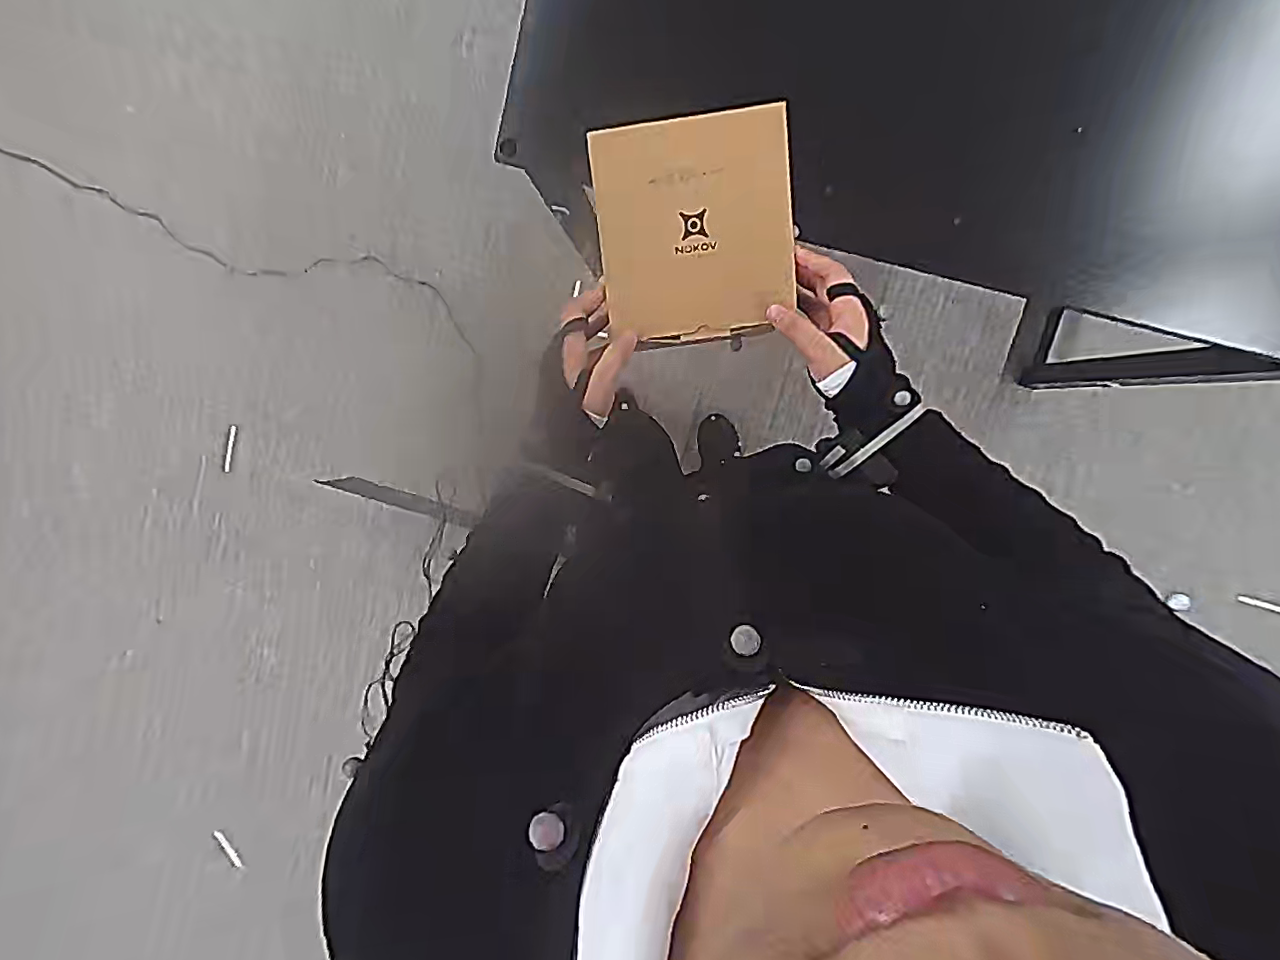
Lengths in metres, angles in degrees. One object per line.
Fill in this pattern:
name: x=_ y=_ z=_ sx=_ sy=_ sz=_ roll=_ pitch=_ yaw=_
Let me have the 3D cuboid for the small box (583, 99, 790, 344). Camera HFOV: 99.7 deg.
small box: x=0.046 y=-0.233 z=0.538 sx=0.168 sy=0.176 sz=0.179 roll=-6 pitch=100 yaw=3

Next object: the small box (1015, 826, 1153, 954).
small box: x=1.056 y=0.978 z=1.304 sx=0.179 sy=0.176 sz=0.168 roll=10 pitch=103 yaw=3
